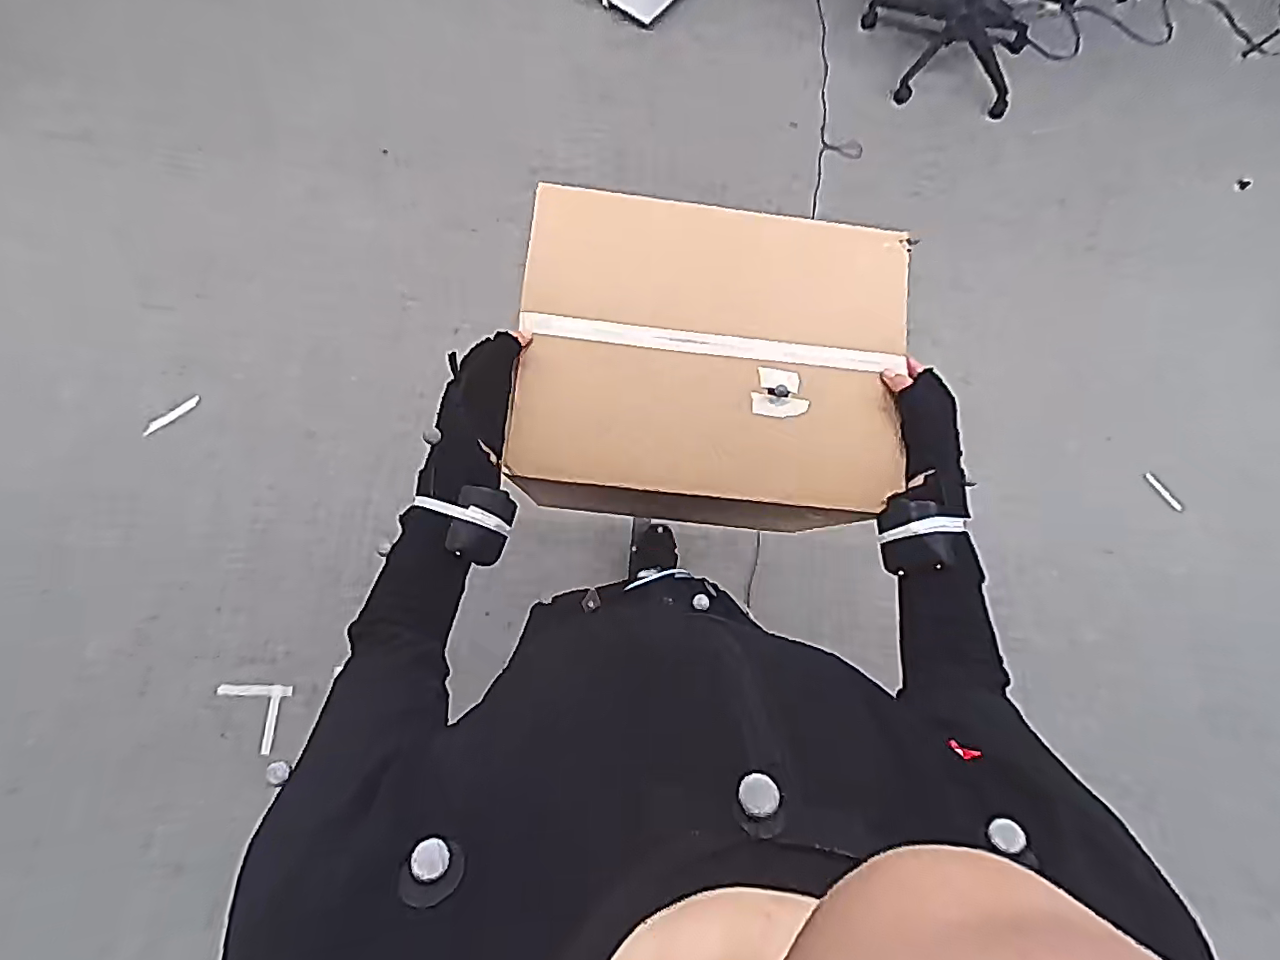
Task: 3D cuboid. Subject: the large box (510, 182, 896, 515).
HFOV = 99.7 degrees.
[{"bbox_3d":[0.063,-0.132,0.719,0.408,0.320,0.320,6,83,-4],"label":"large box"}]
